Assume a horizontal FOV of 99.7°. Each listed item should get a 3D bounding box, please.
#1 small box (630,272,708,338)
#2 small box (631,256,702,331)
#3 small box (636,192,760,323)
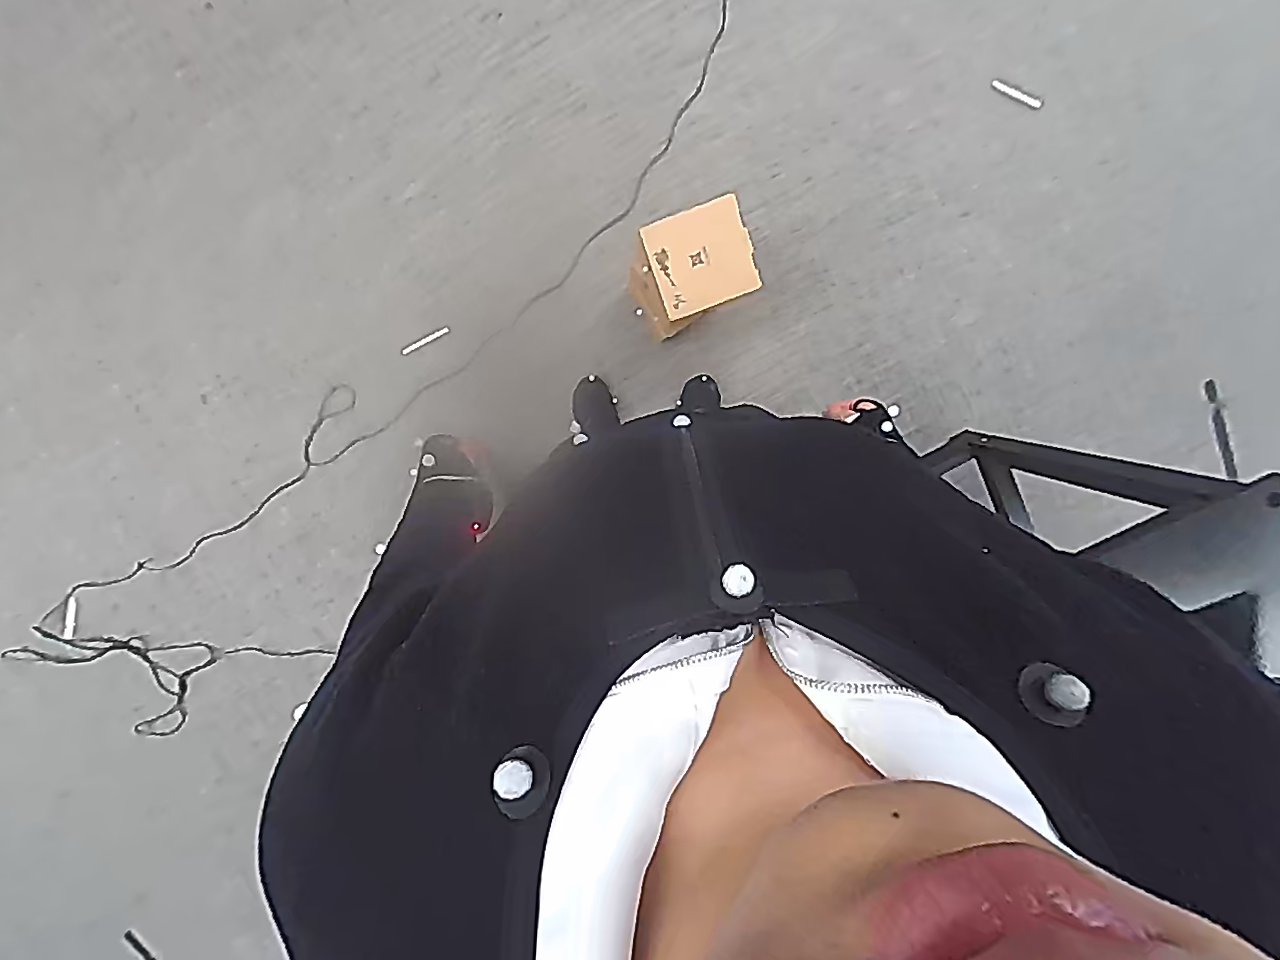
[{"bbox_3d":[0.085,-0.469,1.336,0.179,0.176,0.168,-31,101,5],"label":"small box"},{"bbox_3d":[0.094,-0.441,1.176,0.179,0.176,0.168,-35,102,4],"label":"small box"},{"bbox_3d":[0.101,-0.406,1.016,0.179,0.176,0.168,-20,102,1],"label":"small box"}]
